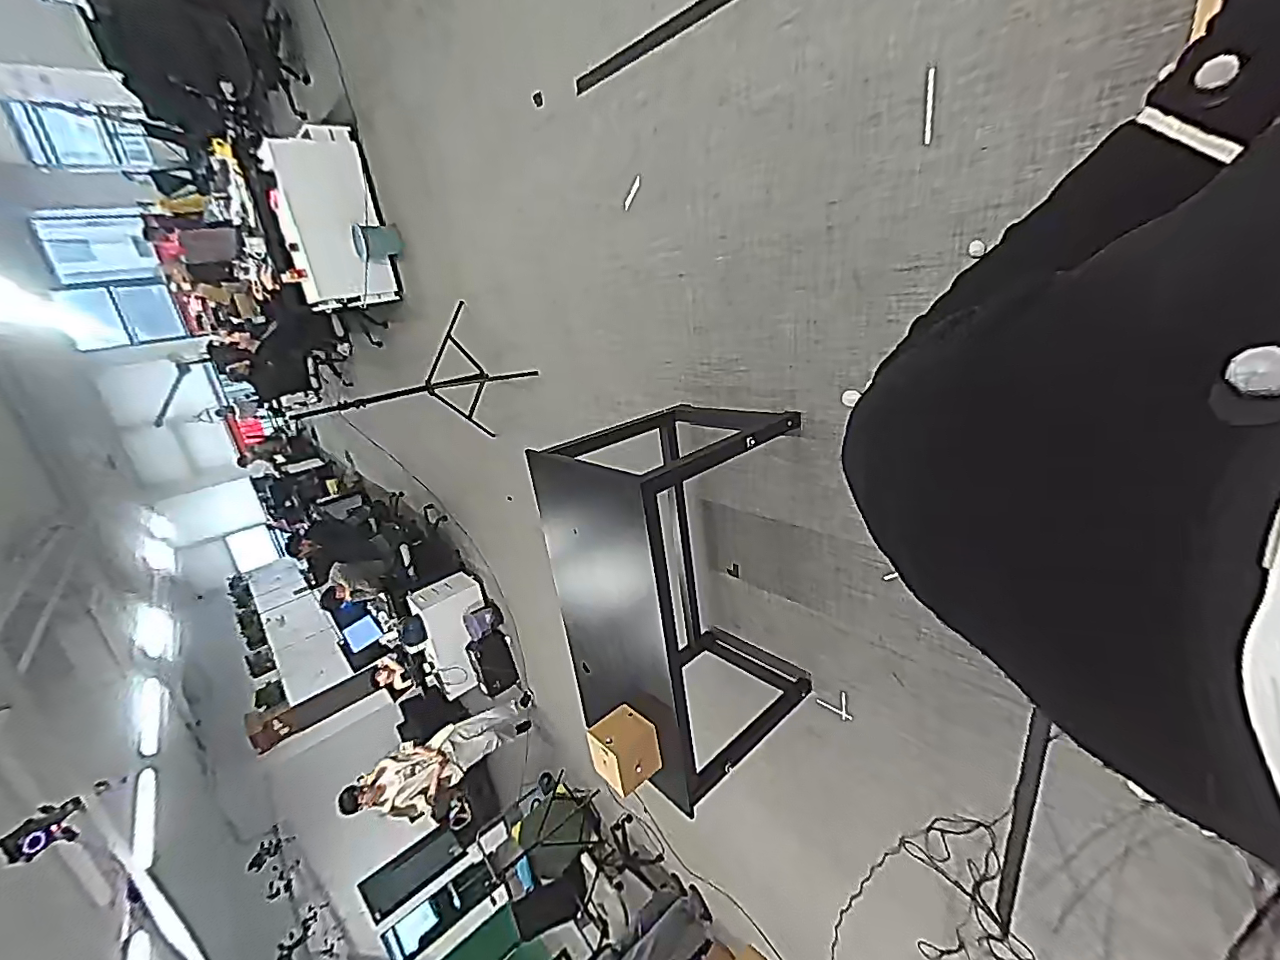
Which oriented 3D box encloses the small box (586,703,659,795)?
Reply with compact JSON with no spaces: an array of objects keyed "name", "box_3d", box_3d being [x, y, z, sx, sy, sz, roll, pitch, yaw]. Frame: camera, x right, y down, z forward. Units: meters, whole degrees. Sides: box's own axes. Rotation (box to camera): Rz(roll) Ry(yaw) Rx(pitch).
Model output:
[{"name":"small box","box_3d":[-0.052,0.890,1.805,0.168,0.176,0.179,13,119,49]}]
